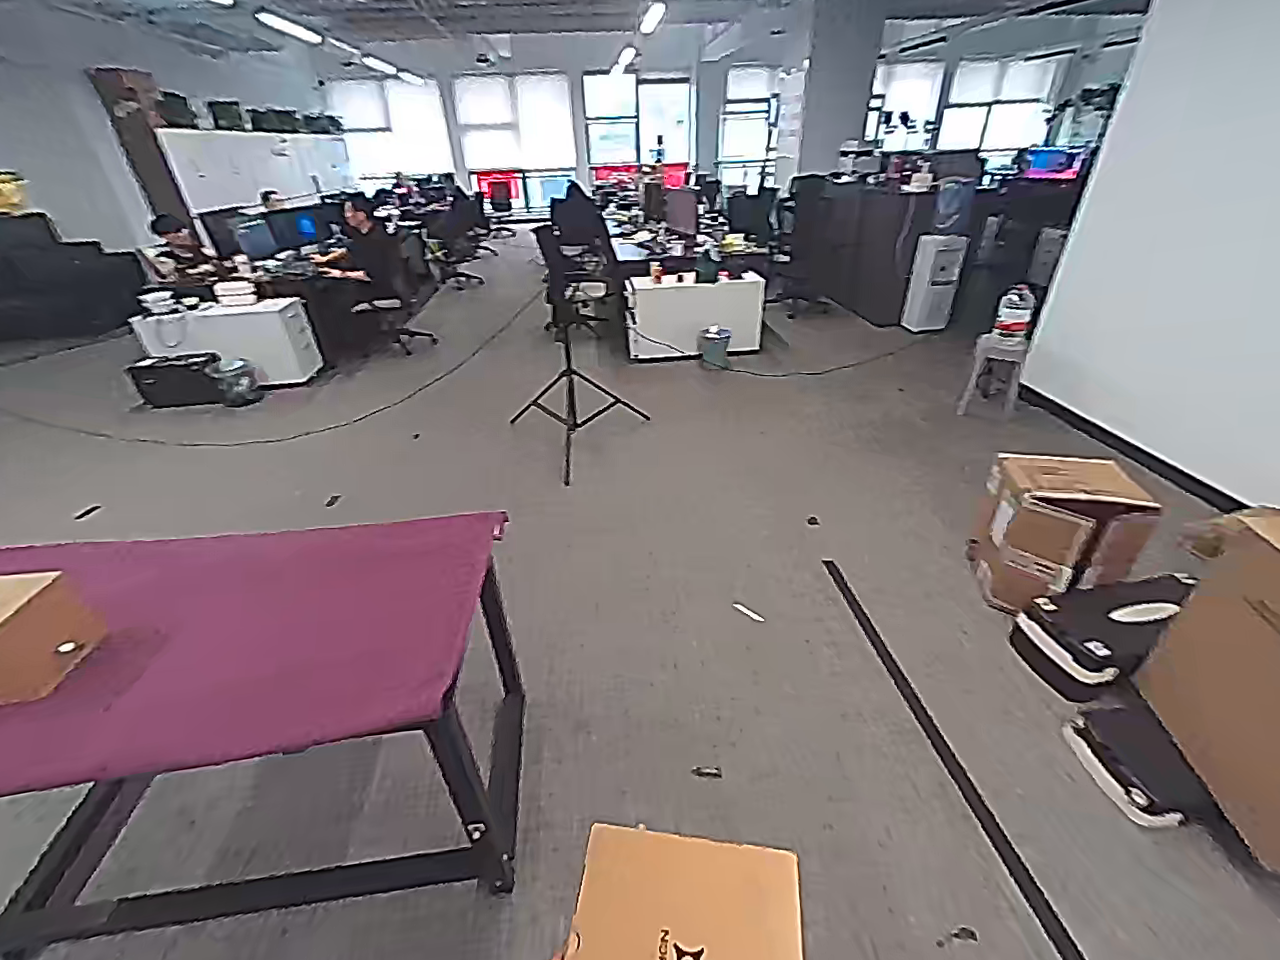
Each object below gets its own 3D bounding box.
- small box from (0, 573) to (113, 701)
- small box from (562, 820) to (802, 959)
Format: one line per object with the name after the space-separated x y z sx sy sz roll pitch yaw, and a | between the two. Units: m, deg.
-1.171 0.297 1.012 0.179 0.176 0.168 -4 32 -4 | small box
0.036 0.410 0.443 0.179 0.176 0.168 1 39 10 | small box
